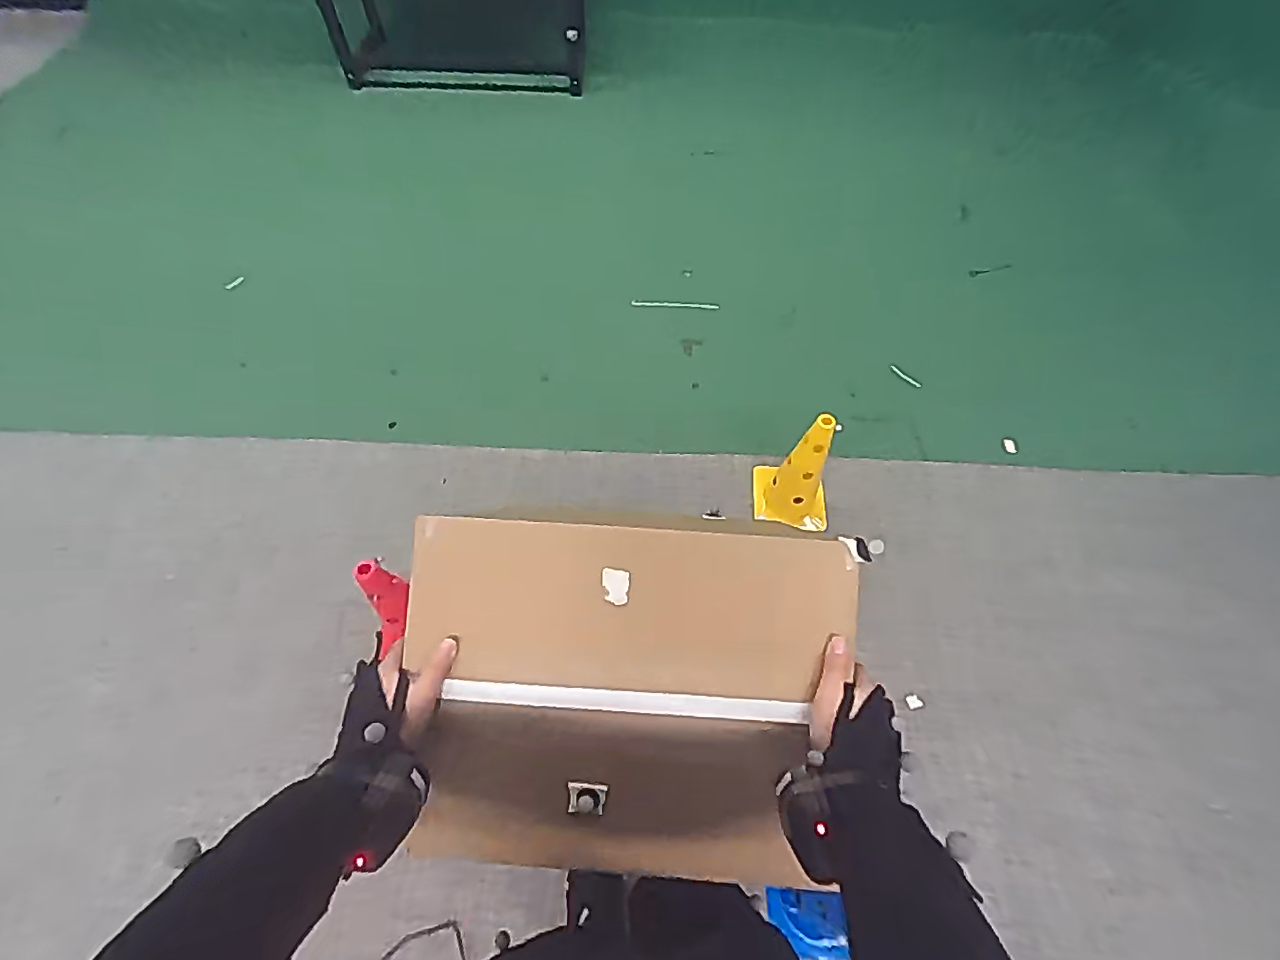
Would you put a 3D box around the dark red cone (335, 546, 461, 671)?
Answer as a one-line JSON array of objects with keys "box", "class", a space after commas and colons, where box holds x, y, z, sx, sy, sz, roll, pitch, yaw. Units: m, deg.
[{"box": [-0.537, 0.252, 1.153, 0.202, 0.394, 0.201, -4, 54, -3], "class": "dark red cone"}]
